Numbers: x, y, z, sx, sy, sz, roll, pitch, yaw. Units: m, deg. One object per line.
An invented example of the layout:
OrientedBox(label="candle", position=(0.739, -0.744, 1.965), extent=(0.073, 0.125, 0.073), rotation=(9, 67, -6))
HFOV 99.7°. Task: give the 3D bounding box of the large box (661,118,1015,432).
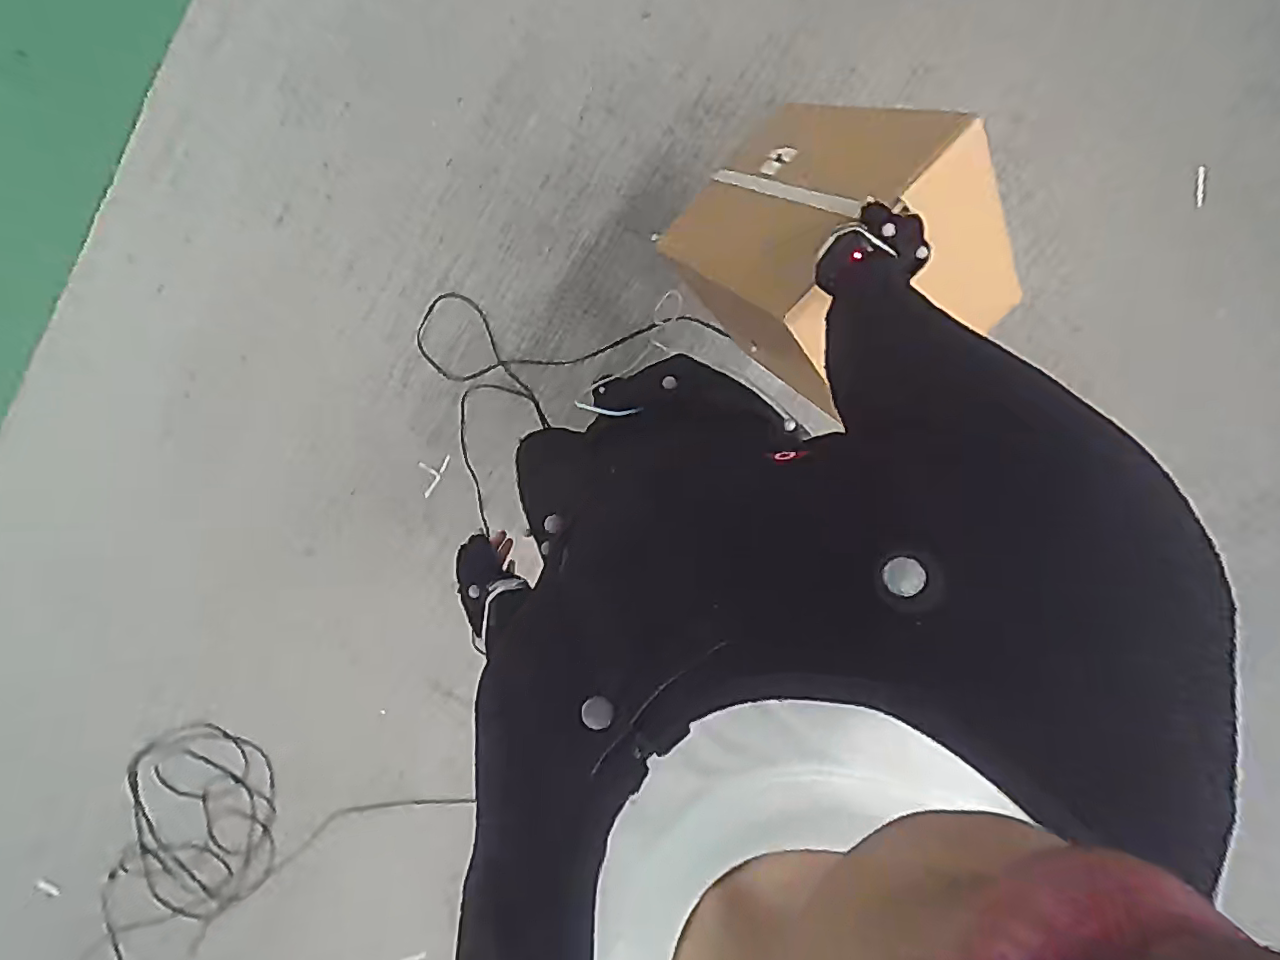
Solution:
OrientedBox(label="large box", position=(0.308, -0.348, 0.905), extent=(0.320, 0.408, 0.320), rotation=(-45, 130, 9))
